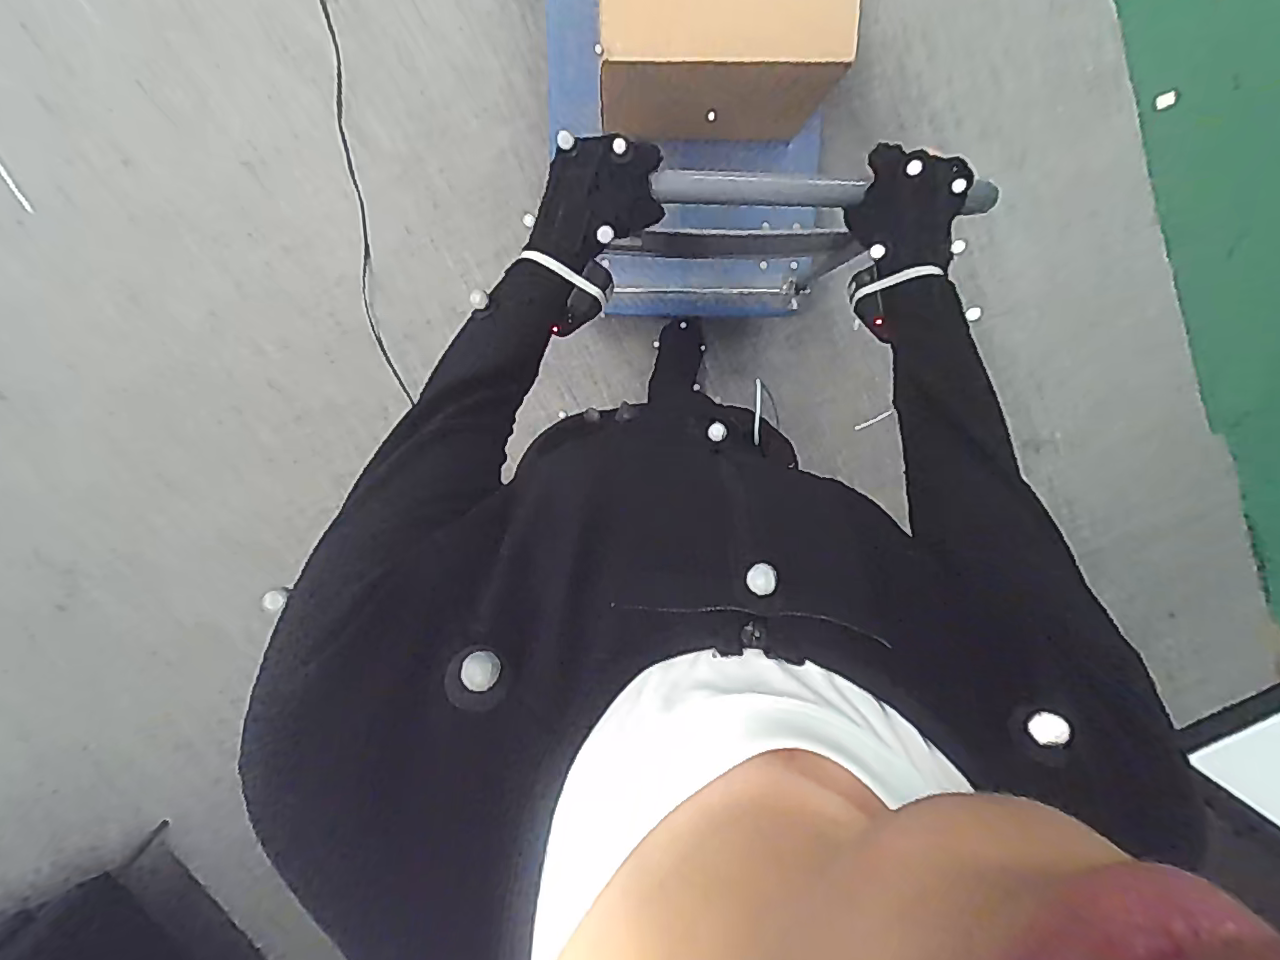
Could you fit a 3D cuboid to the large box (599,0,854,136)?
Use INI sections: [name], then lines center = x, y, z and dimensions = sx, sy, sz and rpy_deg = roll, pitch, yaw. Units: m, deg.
[large box]
center = 0.131, -0.846, 0.969
dimensions = 0.408, 0.320, 0.320
rpy_deg = -2, 102, -2
